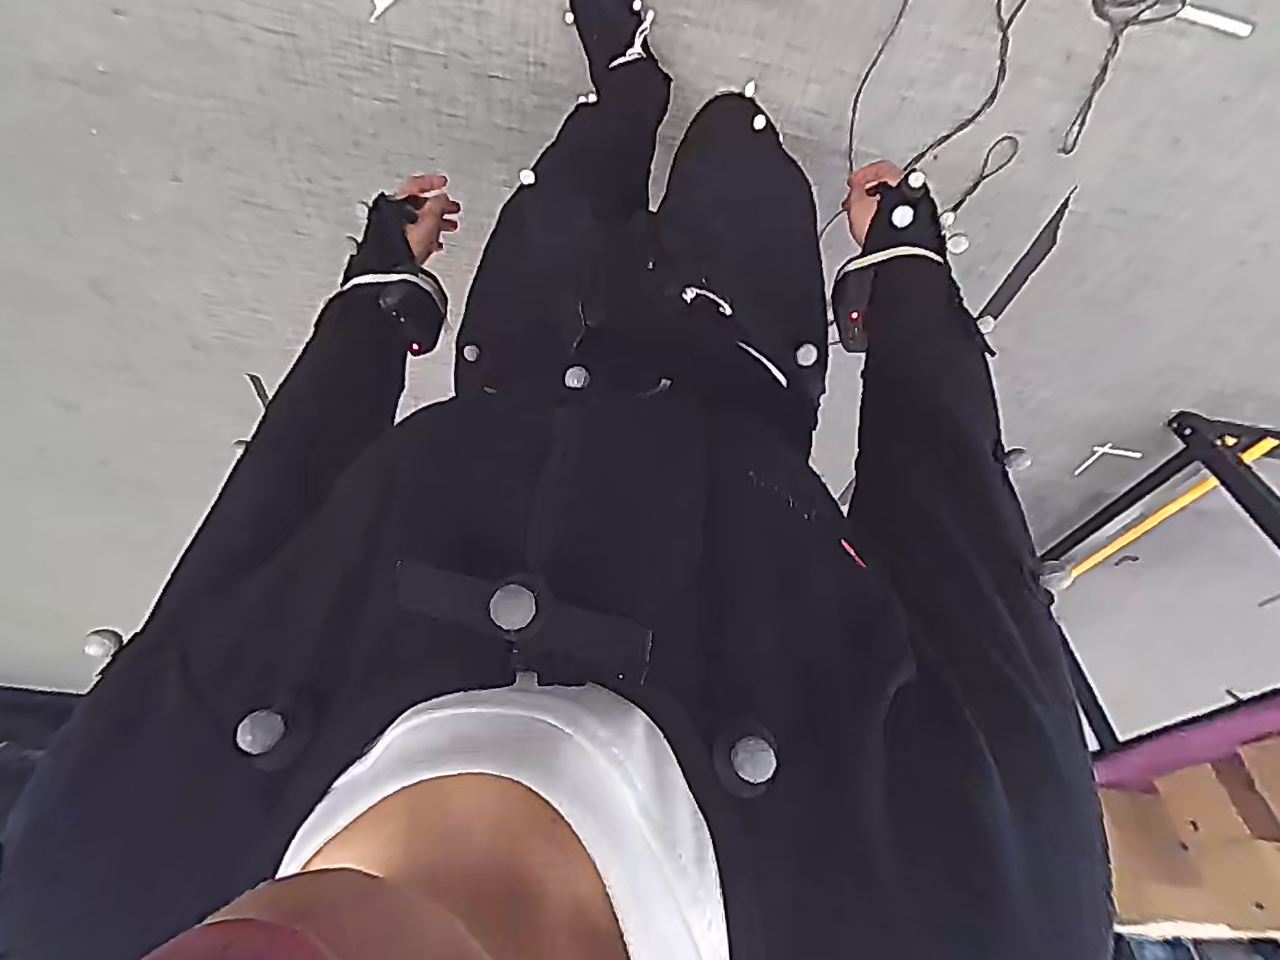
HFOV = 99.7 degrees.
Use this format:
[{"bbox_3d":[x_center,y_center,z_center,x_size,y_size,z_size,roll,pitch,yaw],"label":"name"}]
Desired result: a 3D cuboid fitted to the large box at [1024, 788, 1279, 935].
[{"bbox_3d":[1.471,1.122,1.589,0.408,0.320,0.320,8,139,-6],"label":"large box"}]
